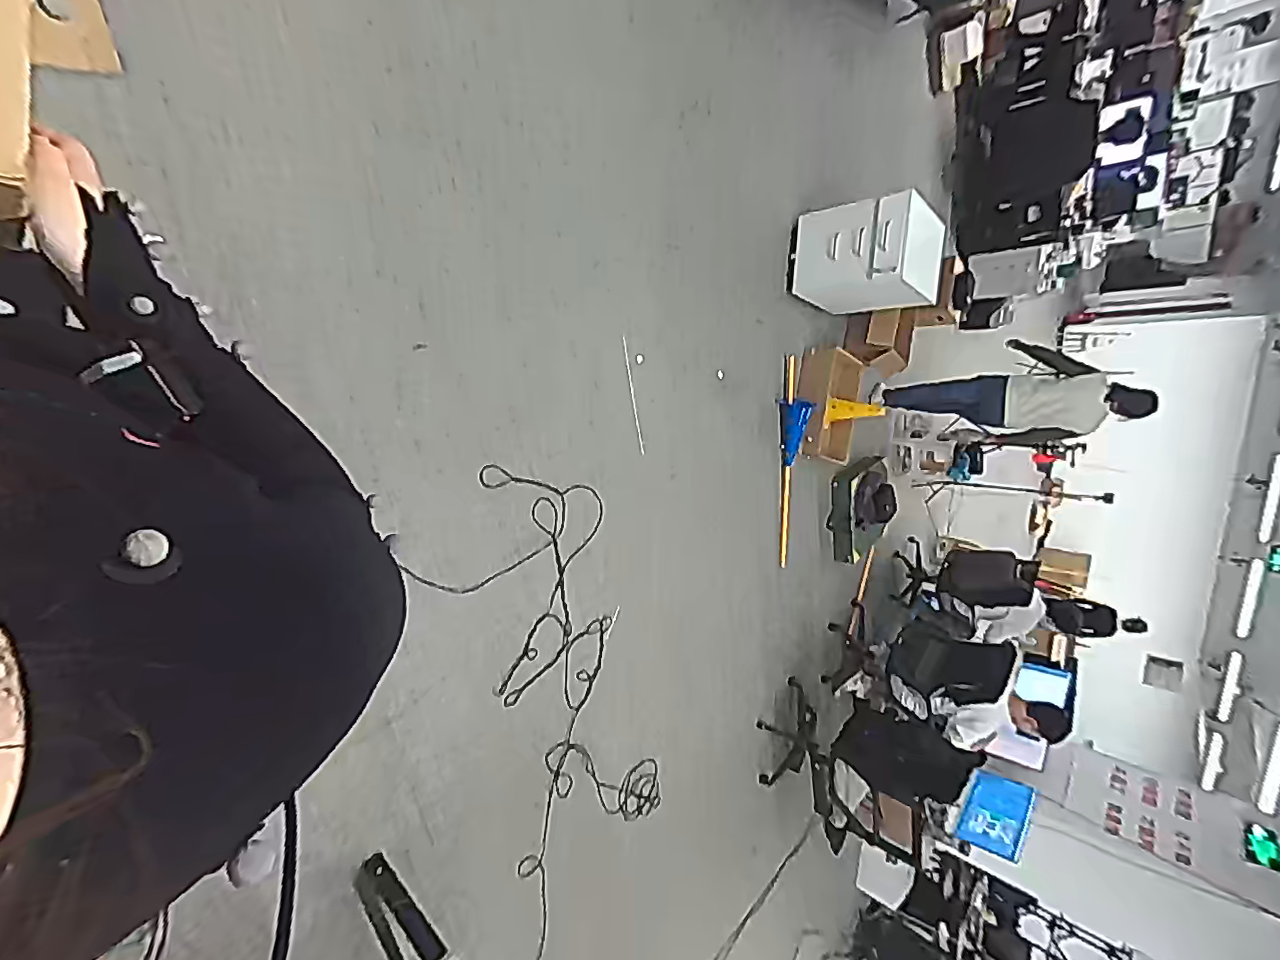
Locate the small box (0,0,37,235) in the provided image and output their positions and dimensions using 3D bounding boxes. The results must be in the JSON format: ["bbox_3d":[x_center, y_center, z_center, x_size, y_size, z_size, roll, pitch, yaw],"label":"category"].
[{"bbox_3d":[-0.455,-0.263,0.292,0.168,0.176,0.179,0,92,-50],"label":"small box"}]
